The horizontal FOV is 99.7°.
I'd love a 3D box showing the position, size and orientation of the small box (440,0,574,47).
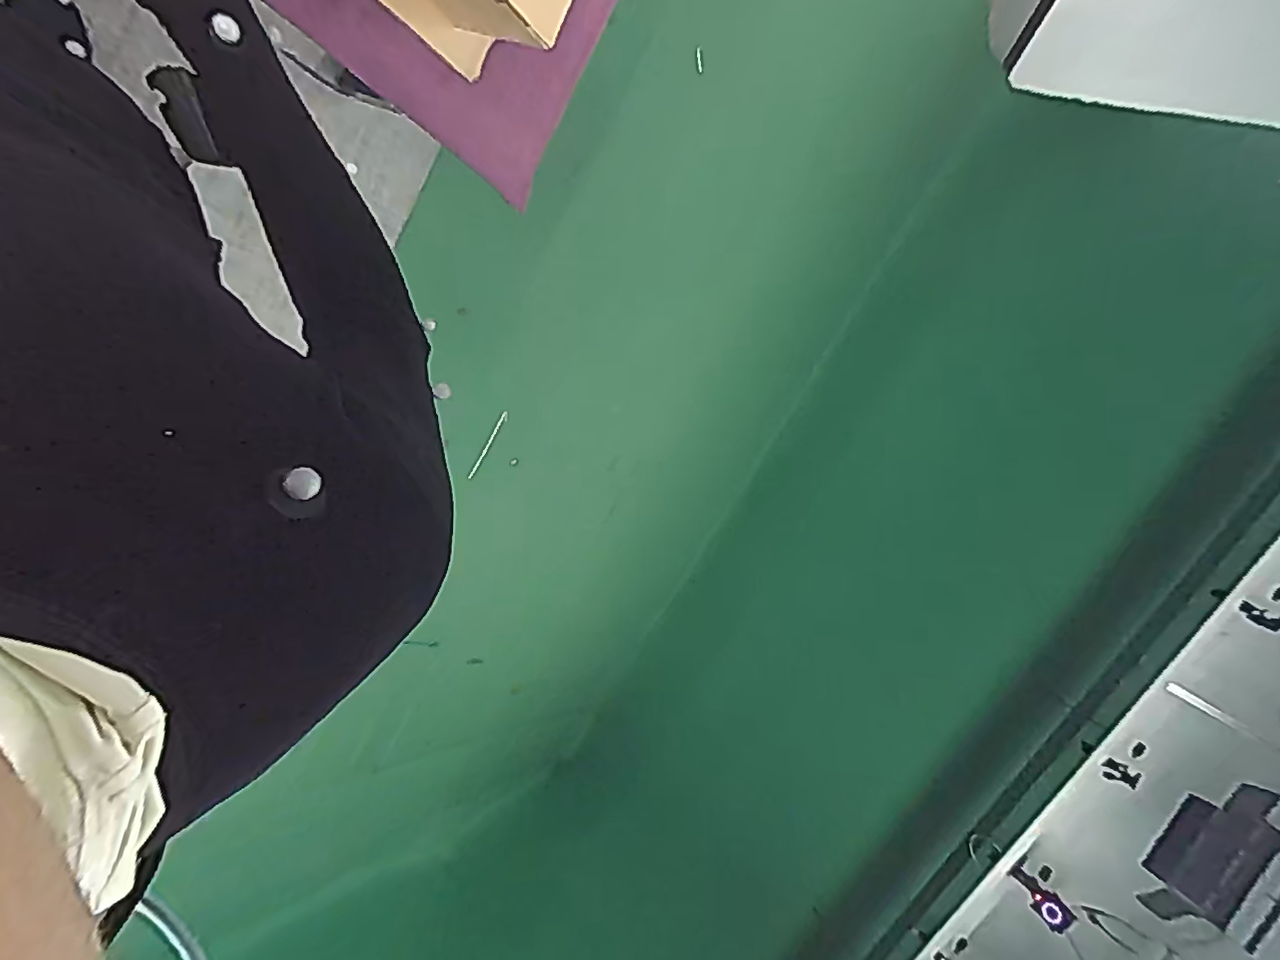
[{"bbox_3d":[-0.147,-0.556,0.496,0.168,0.176,0.179,7,116,-59],"label":"small box"}]
